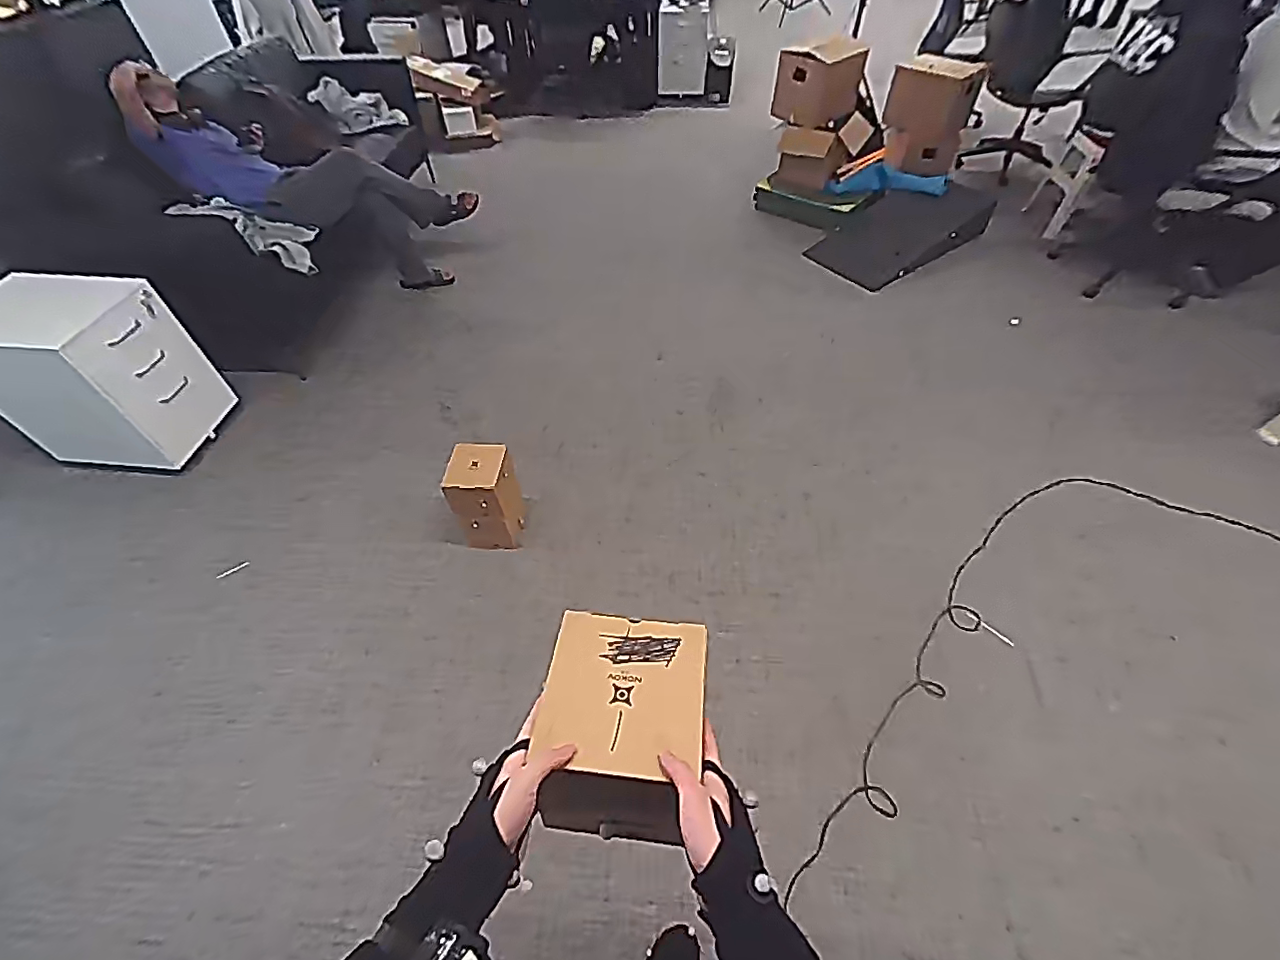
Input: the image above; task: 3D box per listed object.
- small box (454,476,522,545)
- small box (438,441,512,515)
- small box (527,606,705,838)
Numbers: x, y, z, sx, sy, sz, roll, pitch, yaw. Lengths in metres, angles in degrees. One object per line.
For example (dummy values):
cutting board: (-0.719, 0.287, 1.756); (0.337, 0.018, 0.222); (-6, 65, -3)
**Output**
small box: (-0.507, 0.100, 1.834); (0.168, 0.176, 0.179); (3, 50, 4)
small box: (-0.511, -0.004, 1.709); (0.168, 0.176, 0.179); (2, 49, 2)
small box: (-0.018, 0.270, 0.612); (0.168, 0.176, 0.179); (4, 40, 5)
